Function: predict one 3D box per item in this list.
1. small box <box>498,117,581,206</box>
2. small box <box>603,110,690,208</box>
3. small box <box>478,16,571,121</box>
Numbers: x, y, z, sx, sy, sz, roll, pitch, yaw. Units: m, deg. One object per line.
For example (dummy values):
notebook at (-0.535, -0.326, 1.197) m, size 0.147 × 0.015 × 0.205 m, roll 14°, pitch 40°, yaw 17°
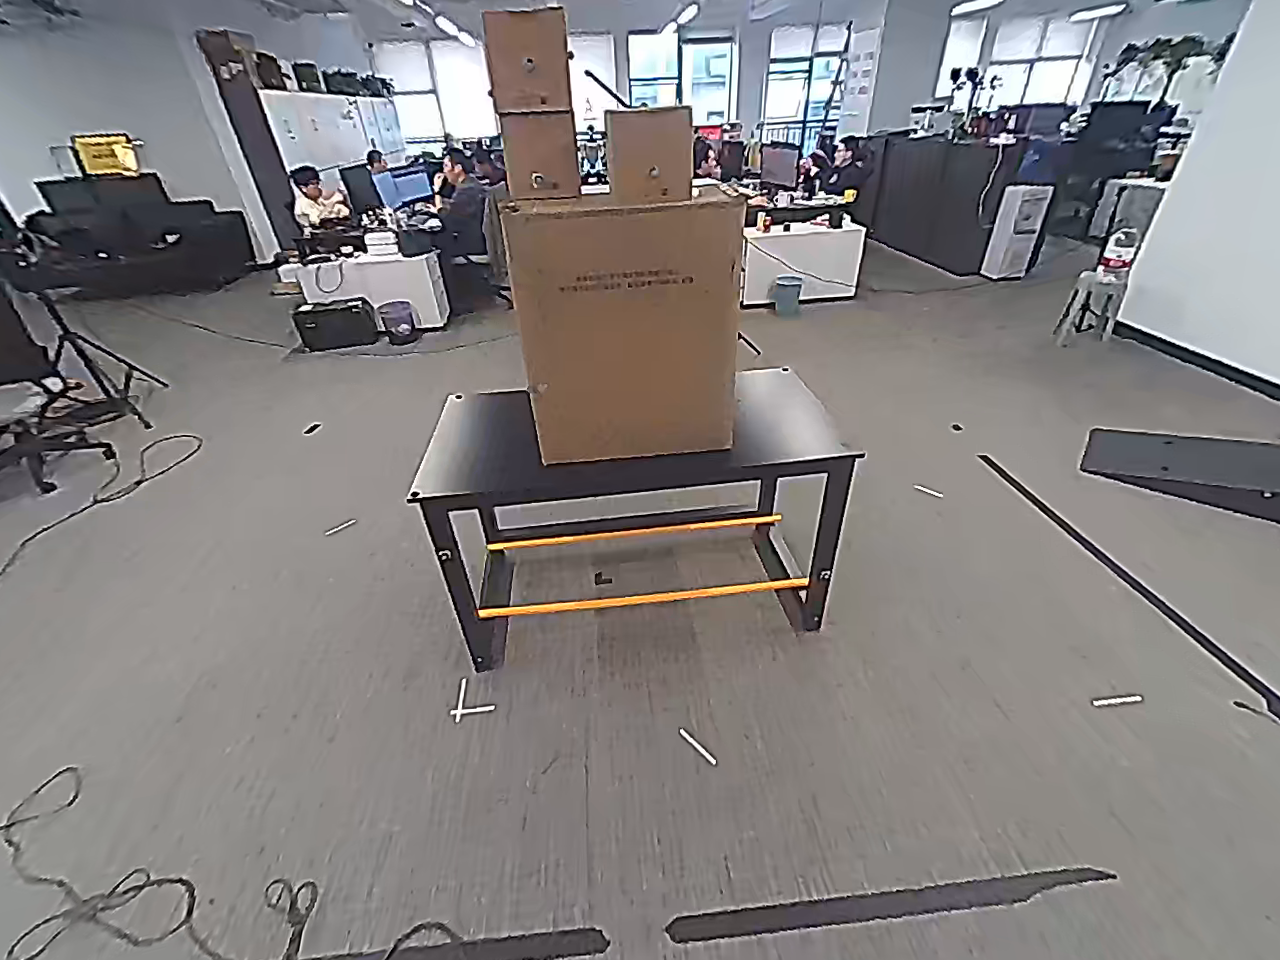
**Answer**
small box at (-0.233, -0.748, 1.269) m, size 0.168 × 0.176 × 0.179 m, roll -8°, pitch 35°, yaw -7°
small box at (0.012, -0.697, 1.174) m, size 0.168 × 0.176 × 0.179 m, roll -8°, pitch 36°, yaw -4°
small box at (-0.241, -0.875, 1.164) m, size 0.168 × 0.176 × 0.179 m, roll -7°, pitch 35°, yaw -6°
